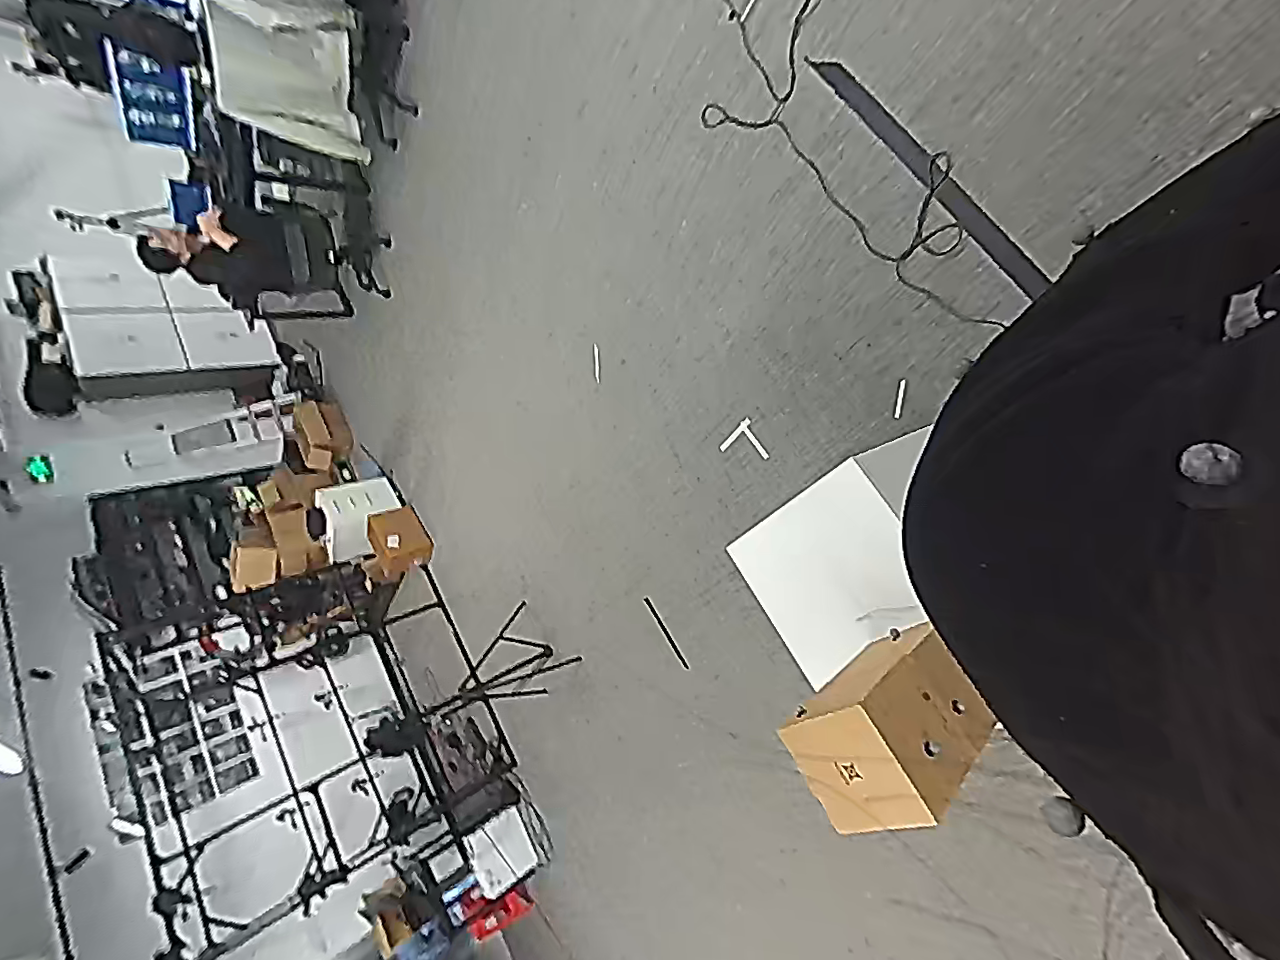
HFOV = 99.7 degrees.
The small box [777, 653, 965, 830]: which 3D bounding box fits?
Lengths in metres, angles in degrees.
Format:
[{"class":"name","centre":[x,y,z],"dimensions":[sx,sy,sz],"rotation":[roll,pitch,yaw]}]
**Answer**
[{"class":"small box","centre":[0.350,0.386,0.811],"dimensions":[0.168,0.176,0.179],"rotation":[59,138,17]}]

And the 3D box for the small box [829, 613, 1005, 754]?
[{"class":"small box","centre":[0.469,0.351,0.918],"dimensions":[0.168,0.176,0.179],"rotation":[60,139,16]}]
